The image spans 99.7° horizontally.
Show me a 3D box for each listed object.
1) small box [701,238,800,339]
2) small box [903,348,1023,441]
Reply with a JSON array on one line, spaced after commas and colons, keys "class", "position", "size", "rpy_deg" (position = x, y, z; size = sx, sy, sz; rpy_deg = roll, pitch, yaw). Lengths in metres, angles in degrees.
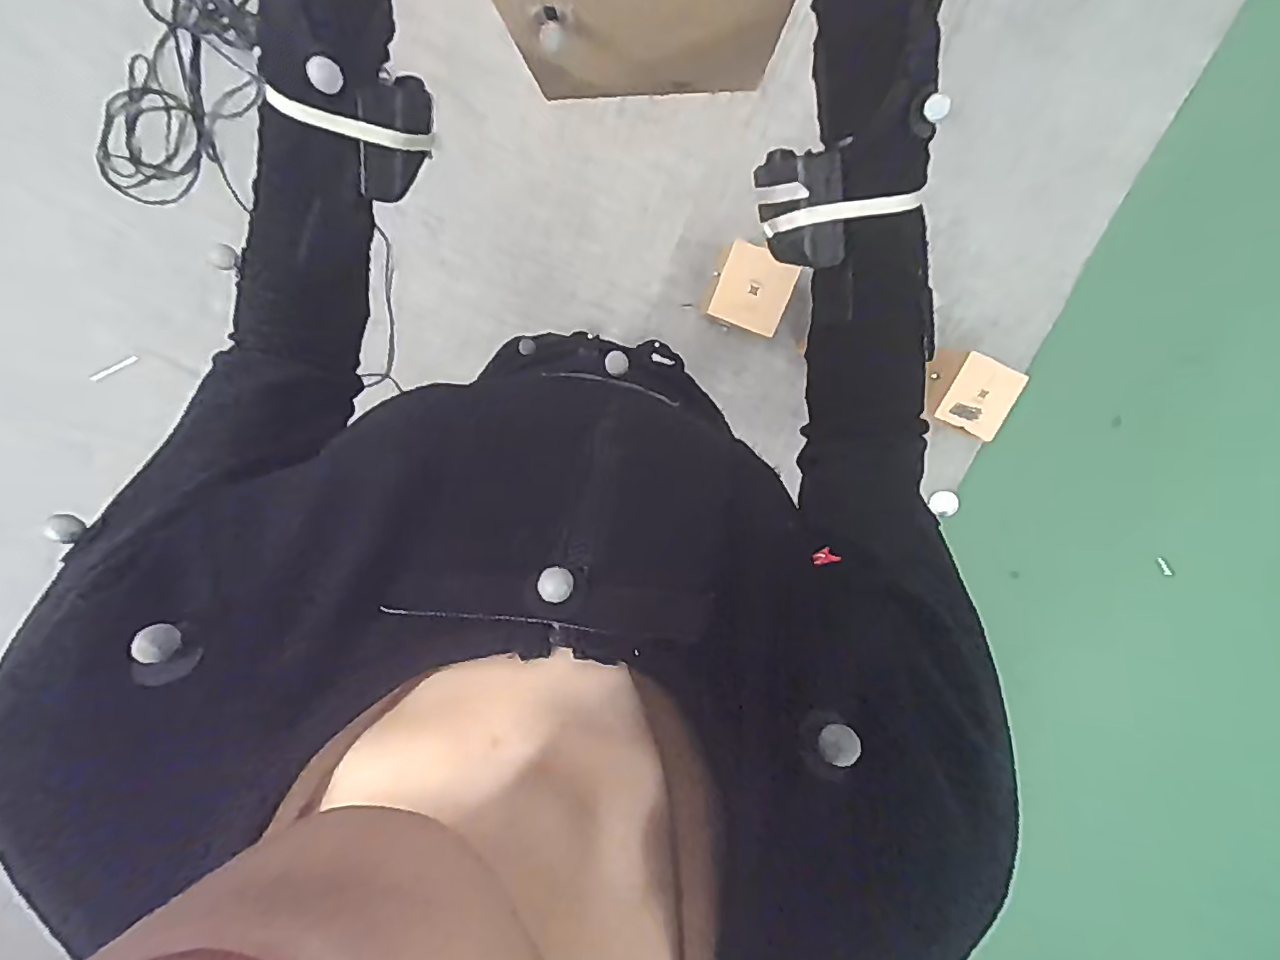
[{"class": "small box", "position": [0.254, -0.453, 1.300], "size": [0.168, 0.176, 0.179], "rpy_deg": [19, 105, -5]}, {"class": "small box", "position": [0.807, -0.223, 1.377], "size": [0.168, 0.176, 0.179], "rpy_deg": [23, 102, -7]}]
